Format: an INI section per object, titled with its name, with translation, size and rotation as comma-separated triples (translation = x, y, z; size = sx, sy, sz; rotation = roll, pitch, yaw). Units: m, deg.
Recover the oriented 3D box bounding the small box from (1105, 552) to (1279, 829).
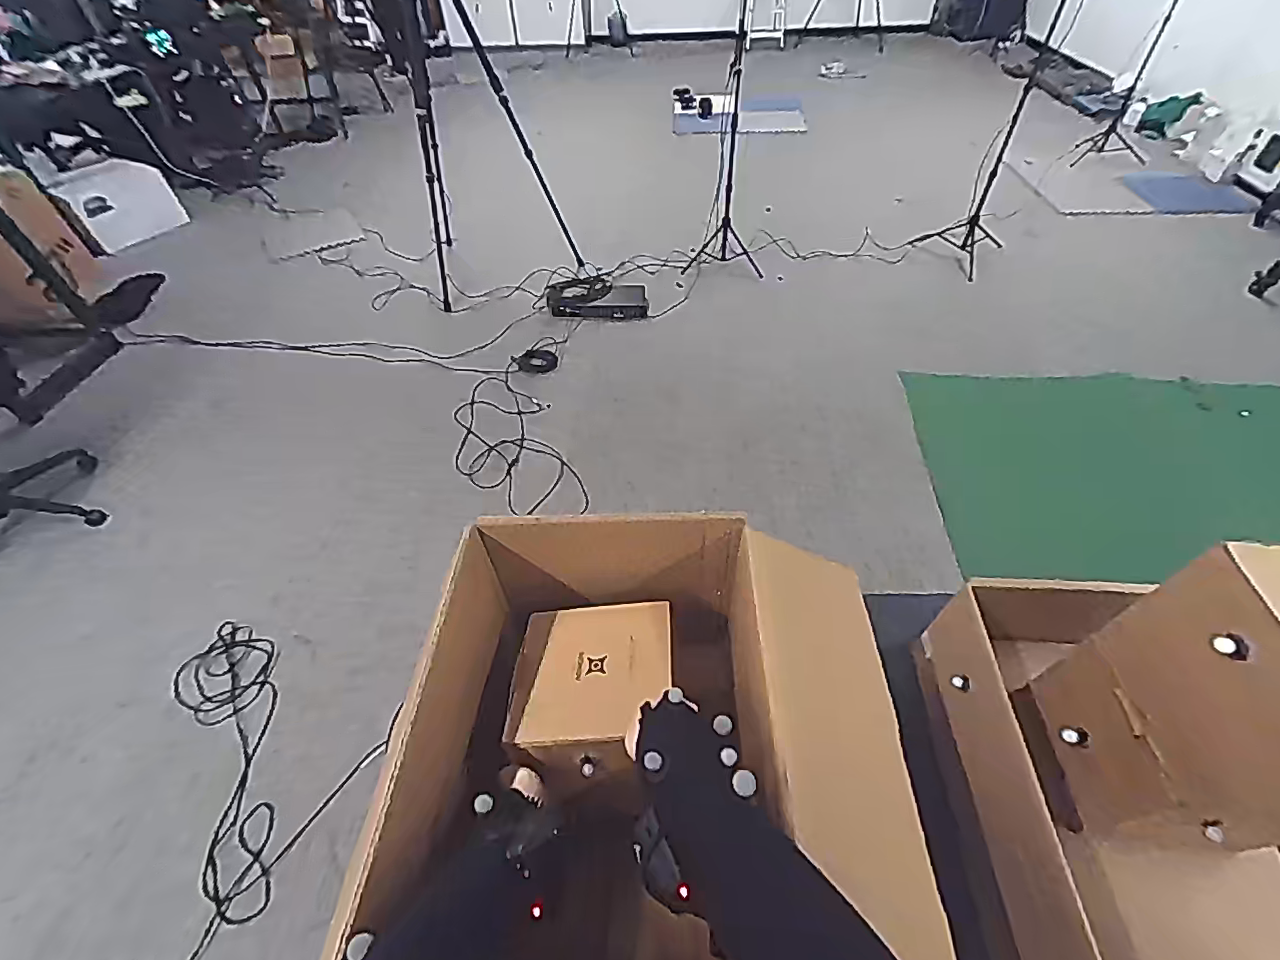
[small box]
translation = 0.561, 0.183, 0.461
size = 0.168, 0.176, 0.179
rotation = 2, 50, 5
